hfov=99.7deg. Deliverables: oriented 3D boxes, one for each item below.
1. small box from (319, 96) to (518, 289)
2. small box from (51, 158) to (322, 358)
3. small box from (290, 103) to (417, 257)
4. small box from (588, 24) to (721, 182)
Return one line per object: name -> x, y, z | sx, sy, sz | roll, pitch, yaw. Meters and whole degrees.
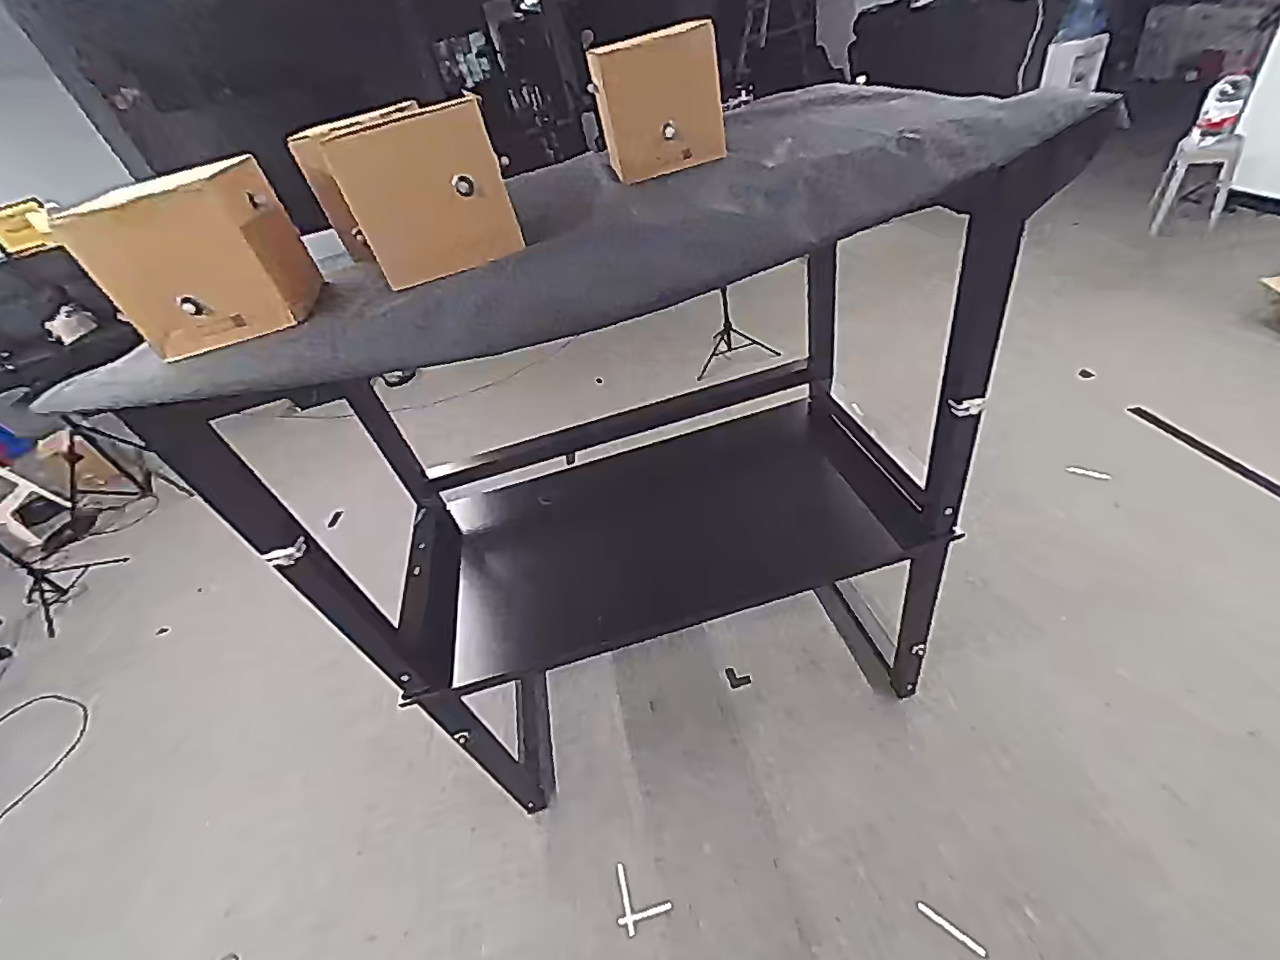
small box -> -0.262, -0.368, 0.691 | 0.179, 0.176, 0.168 | -18, 38, -4
small box -> -0.530, -0.276, 0.671 | 0.168, 0.176, 0.179 | -19, 40, -4
small box -> -0.405, -0.474, 0.861 | 0.168, 0.176, 0.179 | -17, 39, -1
small box -> 0.022, -0.592, 0.857 | 0.168, 0.176, 0.179 | -16, 40, 1
